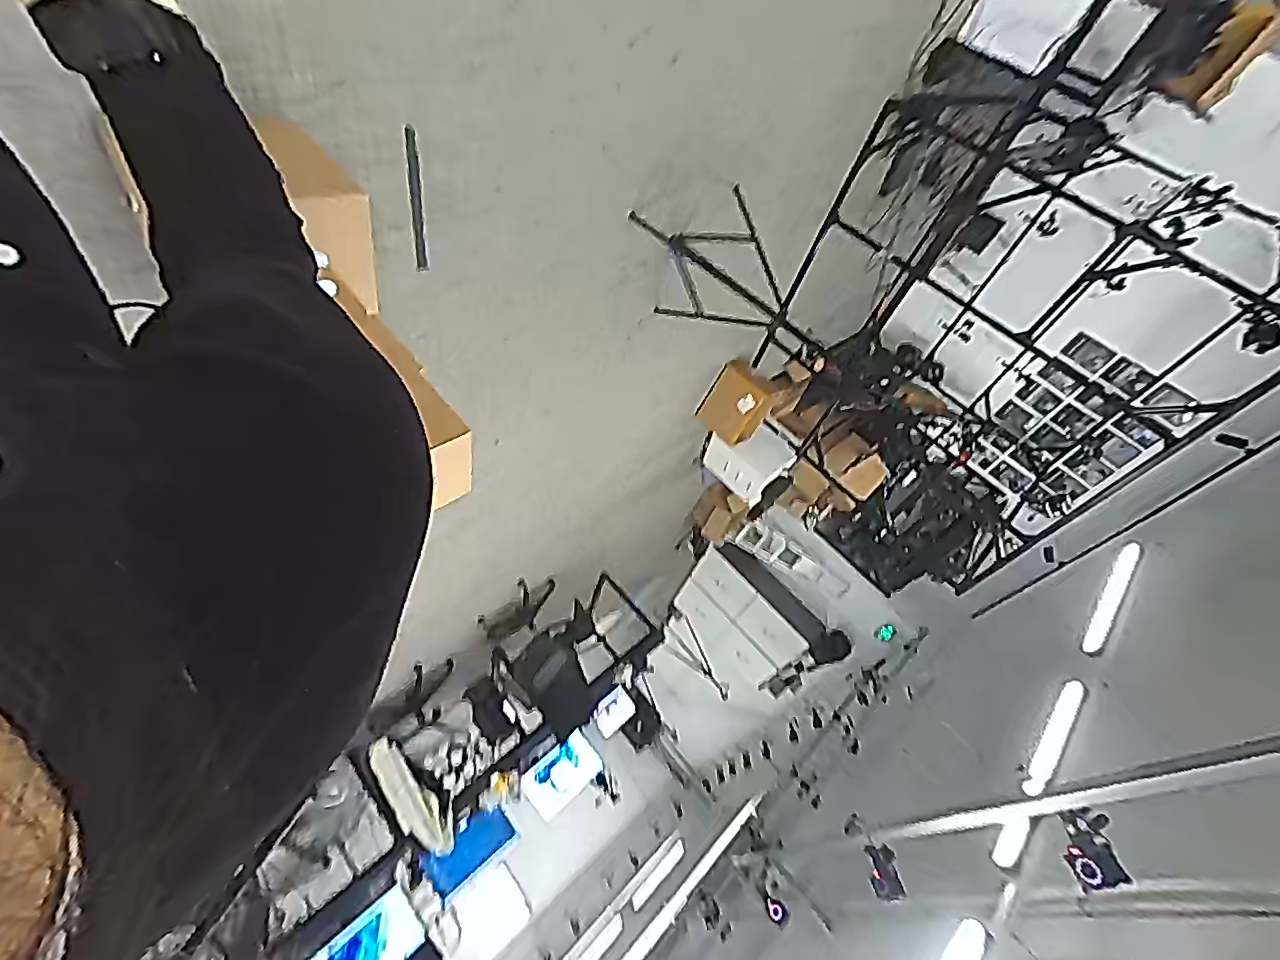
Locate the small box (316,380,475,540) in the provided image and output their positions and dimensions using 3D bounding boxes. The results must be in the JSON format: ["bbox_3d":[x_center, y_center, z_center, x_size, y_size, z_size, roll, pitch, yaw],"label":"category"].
[{"bbox_3d":[-0.398,-0.040,0.899,0.179,0.176,0.168,-31,156,-34],"label":"small box"}]
